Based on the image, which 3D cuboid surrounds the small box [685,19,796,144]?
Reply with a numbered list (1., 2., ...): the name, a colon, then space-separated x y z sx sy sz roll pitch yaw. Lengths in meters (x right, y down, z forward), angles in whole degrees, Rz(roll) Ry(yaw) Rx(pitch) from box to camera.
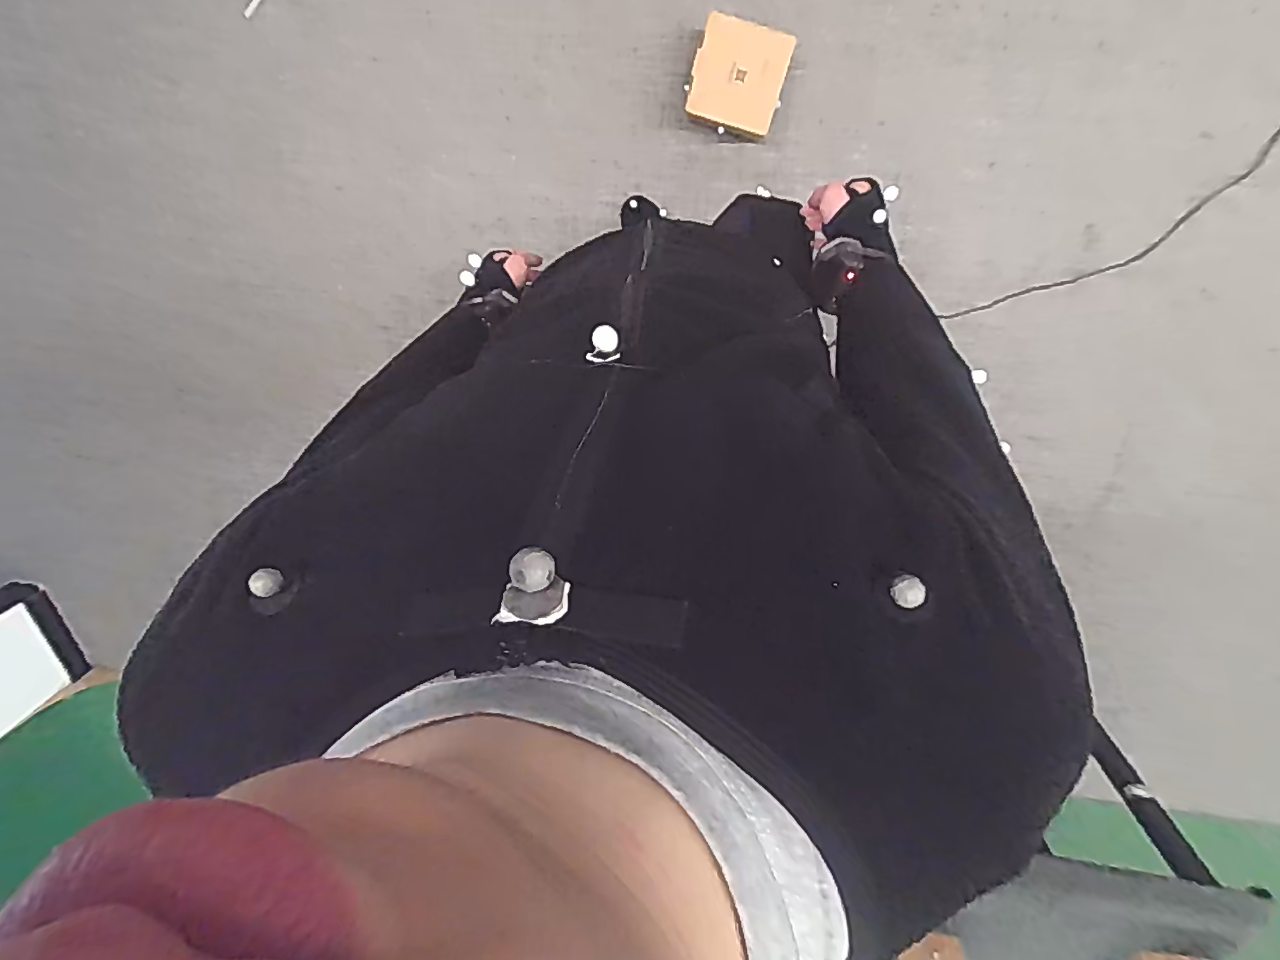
1. small box: 0.202 -0.824 1.137 0.179 0.176 0.168 15 120 -3
